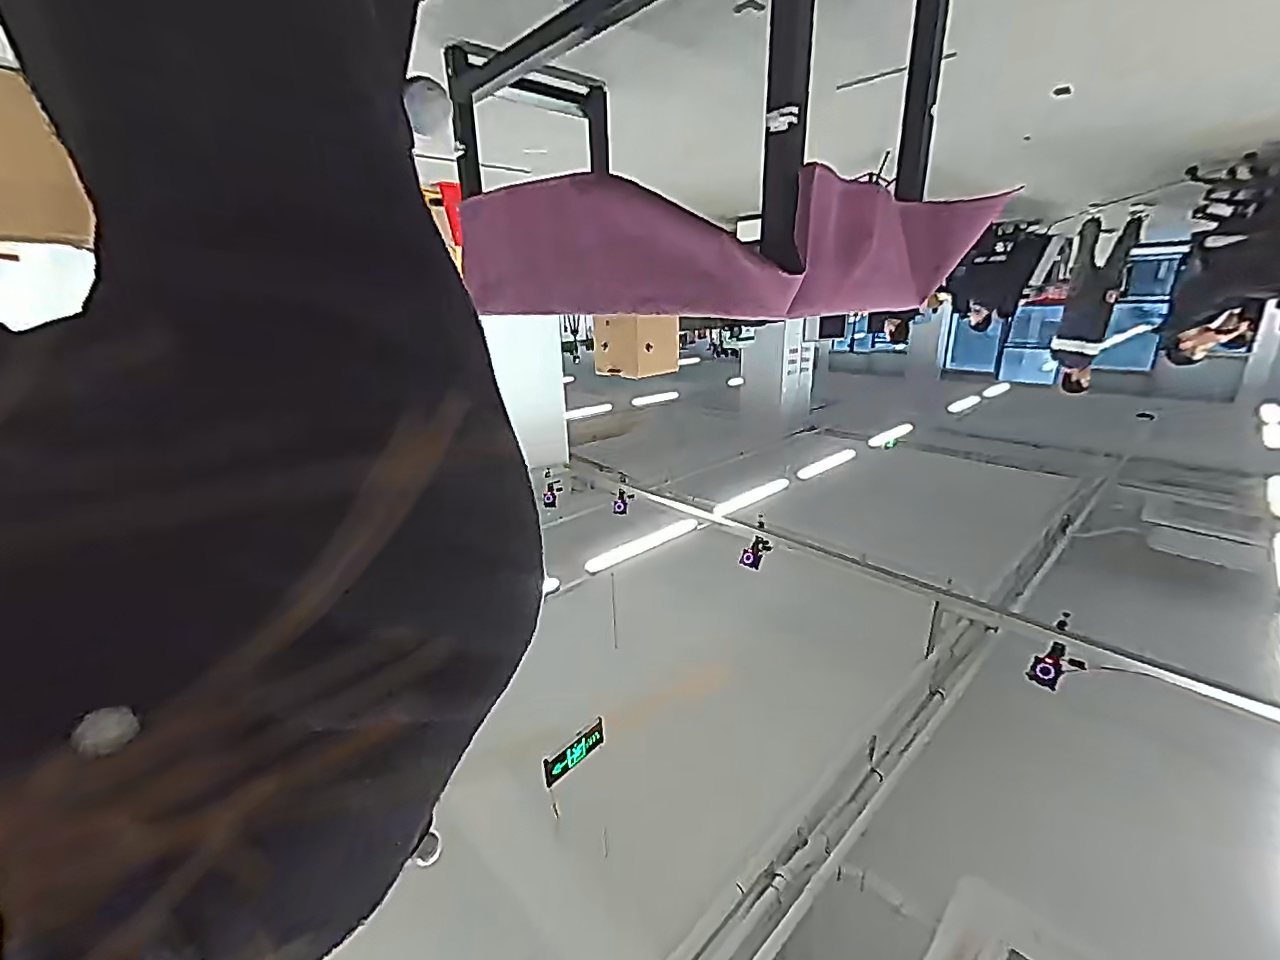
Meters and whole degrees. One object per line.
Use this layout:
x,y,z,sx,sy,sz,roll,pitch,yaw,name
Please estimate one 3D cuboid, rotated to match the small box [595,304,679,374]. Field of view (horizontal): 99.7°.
-0.010,-0.391,1.484,0.168,0.176,0.179,16,-153,40,small box
